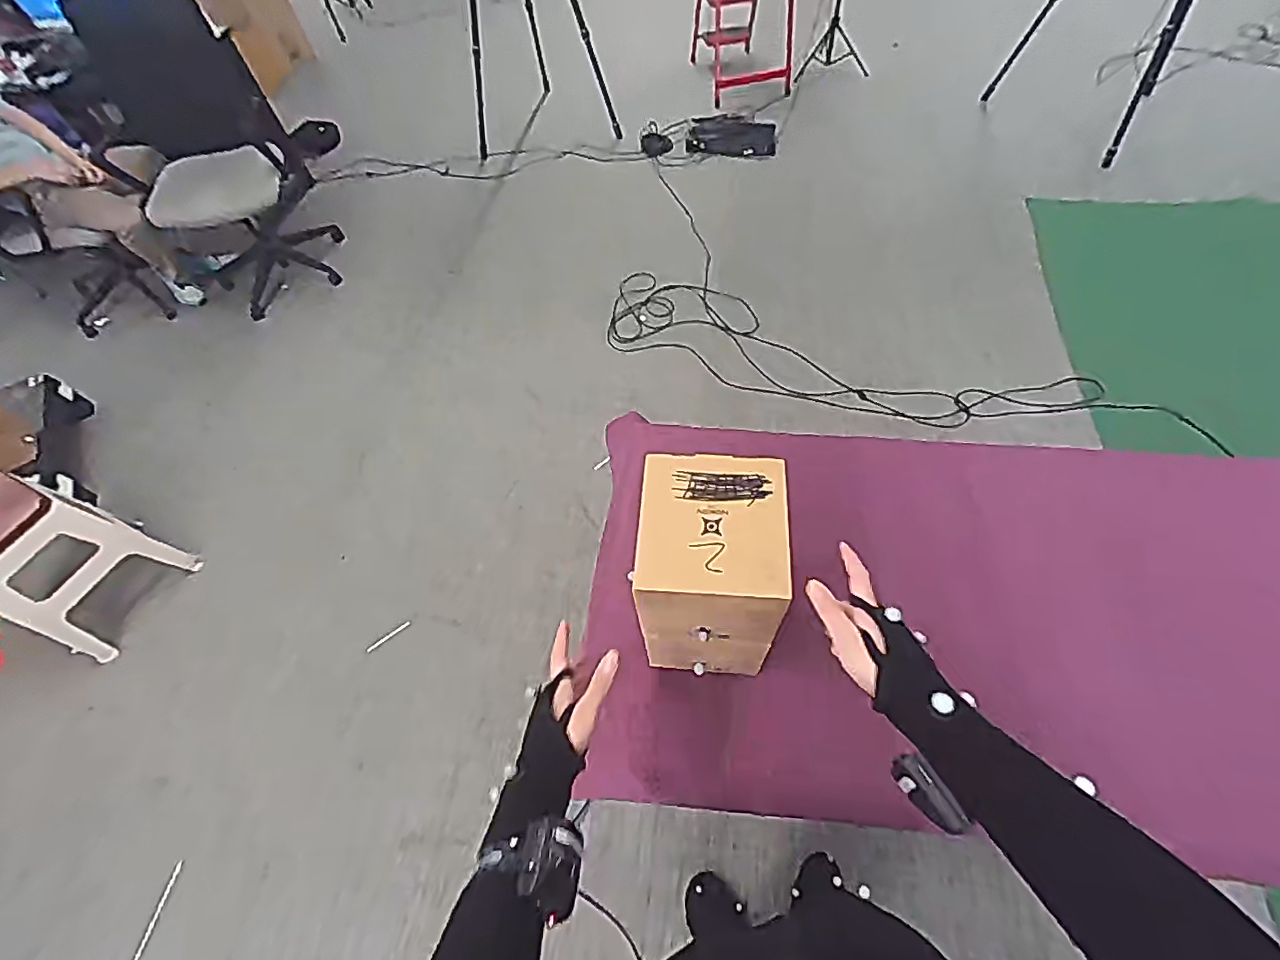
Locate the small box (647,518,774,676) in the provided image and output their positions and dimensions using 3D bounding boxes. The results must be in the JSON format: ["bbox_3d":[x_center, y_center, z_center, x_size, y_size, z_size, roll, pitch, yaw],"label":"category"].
[{"bbox_3d":[0.103,0.176,0.803,0.168,0.176,0.179,3,58,7],"label":"small box"}]
